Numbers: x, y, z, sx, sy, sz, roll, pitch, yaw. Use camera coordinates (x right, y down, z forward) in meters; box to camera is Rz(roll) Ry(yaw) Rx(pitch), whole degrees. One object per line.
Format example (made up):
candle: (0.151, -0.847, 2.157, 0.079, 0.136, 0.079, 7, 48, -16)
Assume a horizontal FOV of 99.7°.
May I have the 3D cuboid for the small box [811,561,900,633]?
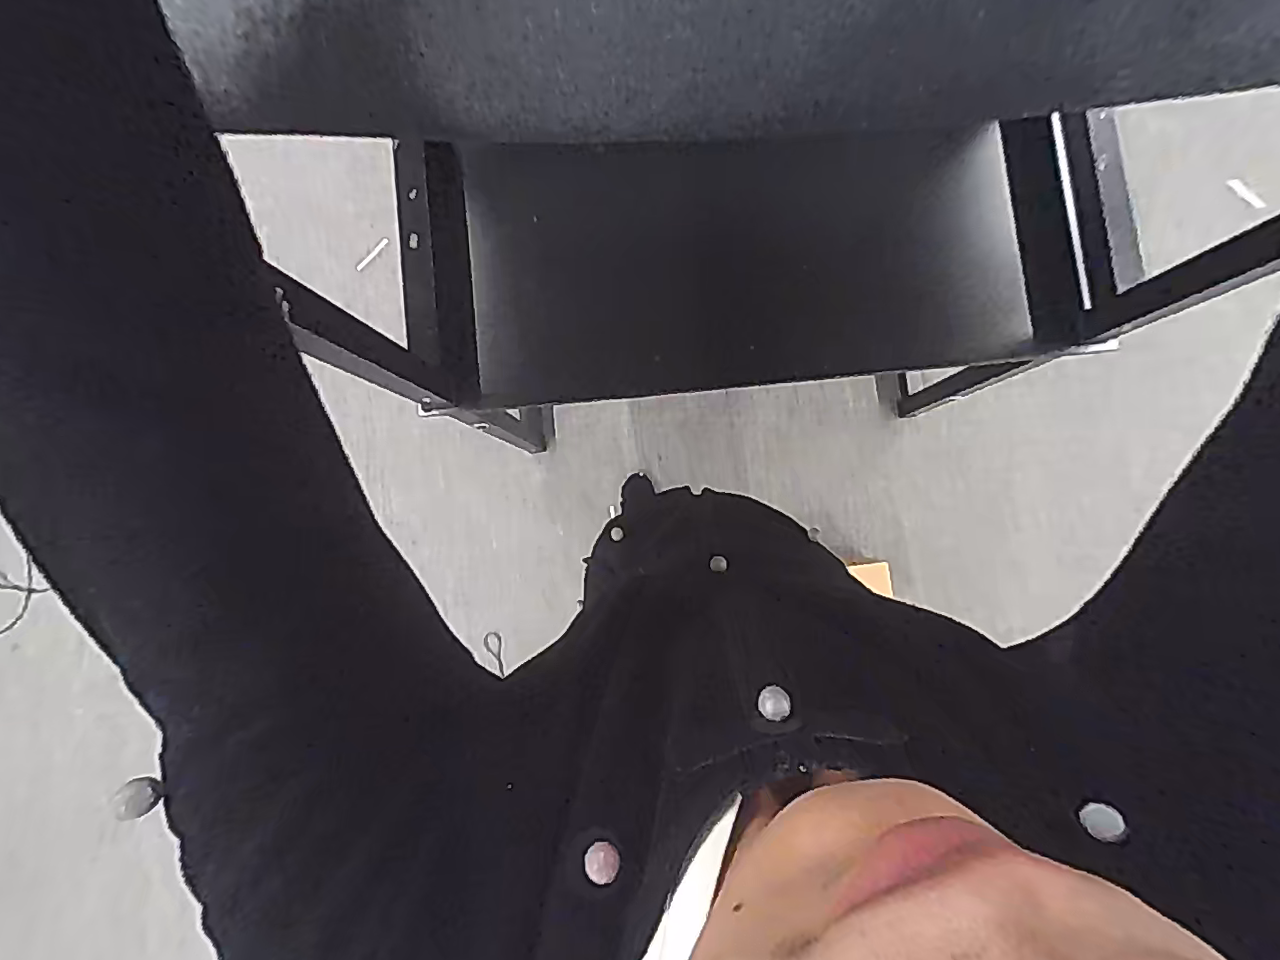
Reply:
small box: (0.602, 0.326, 1.527, 0.179, 0.176, 0.168, -8, 85, 3)
